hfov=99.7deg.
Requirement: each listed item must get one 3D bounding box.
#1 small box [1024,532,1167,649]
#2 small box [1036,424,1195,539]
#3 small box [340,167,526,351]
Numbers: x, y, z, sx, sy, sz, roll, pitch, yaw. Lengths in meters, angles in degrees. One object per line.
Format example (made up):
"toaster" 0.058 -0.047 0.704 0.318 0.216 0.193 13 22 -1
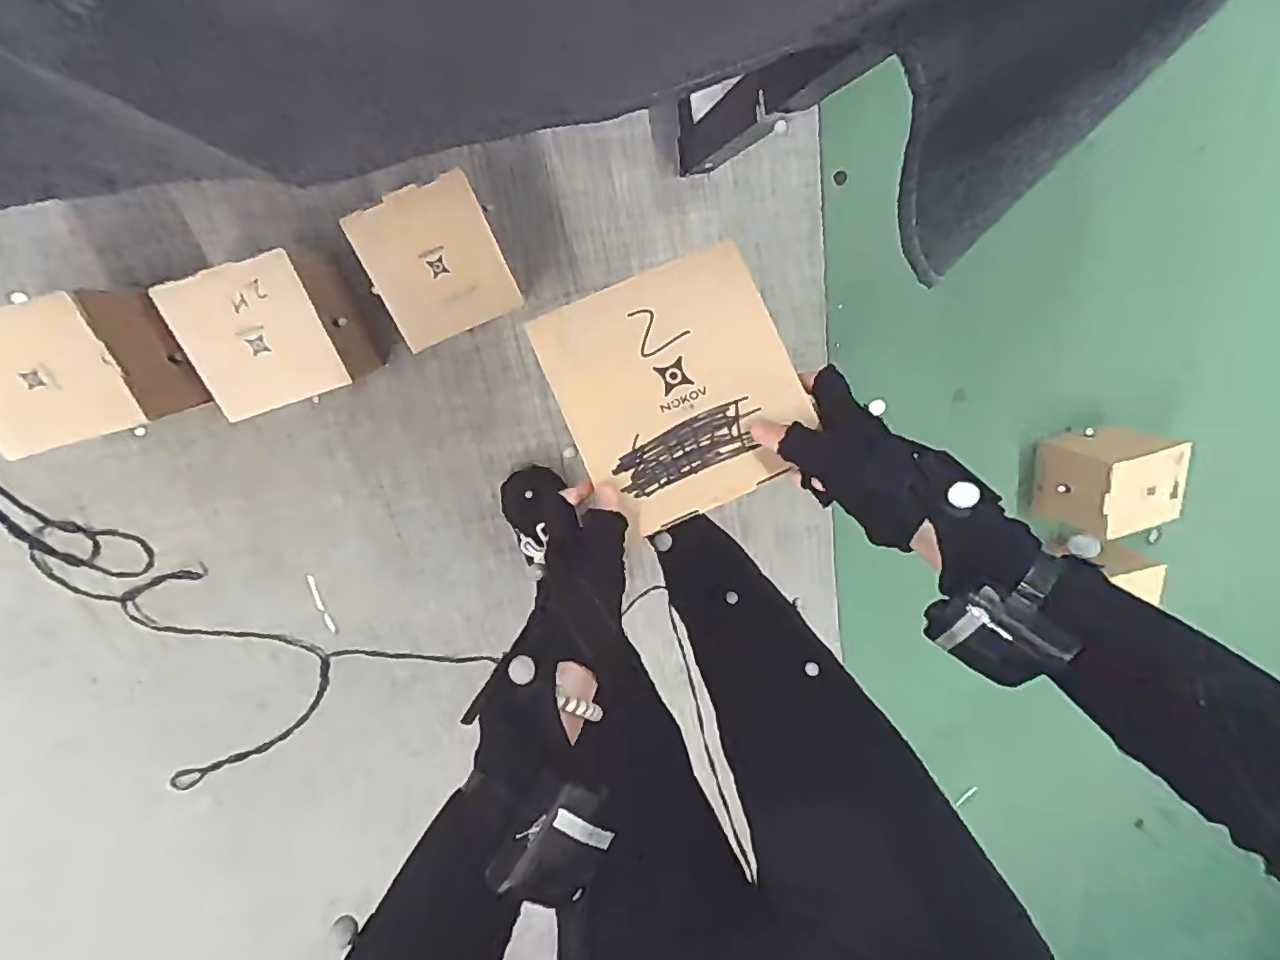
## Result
"small box" 1.002 0.241 1.206 0.168 0.176 0.179 -11 111 -7
"small box" 0.958 -0.004 1.108 0.179 0.176 0.168 -14 112 -5
"small box" -0.271 -0.297 0.752 0.168 0.176 0.179 -24 112 -2
